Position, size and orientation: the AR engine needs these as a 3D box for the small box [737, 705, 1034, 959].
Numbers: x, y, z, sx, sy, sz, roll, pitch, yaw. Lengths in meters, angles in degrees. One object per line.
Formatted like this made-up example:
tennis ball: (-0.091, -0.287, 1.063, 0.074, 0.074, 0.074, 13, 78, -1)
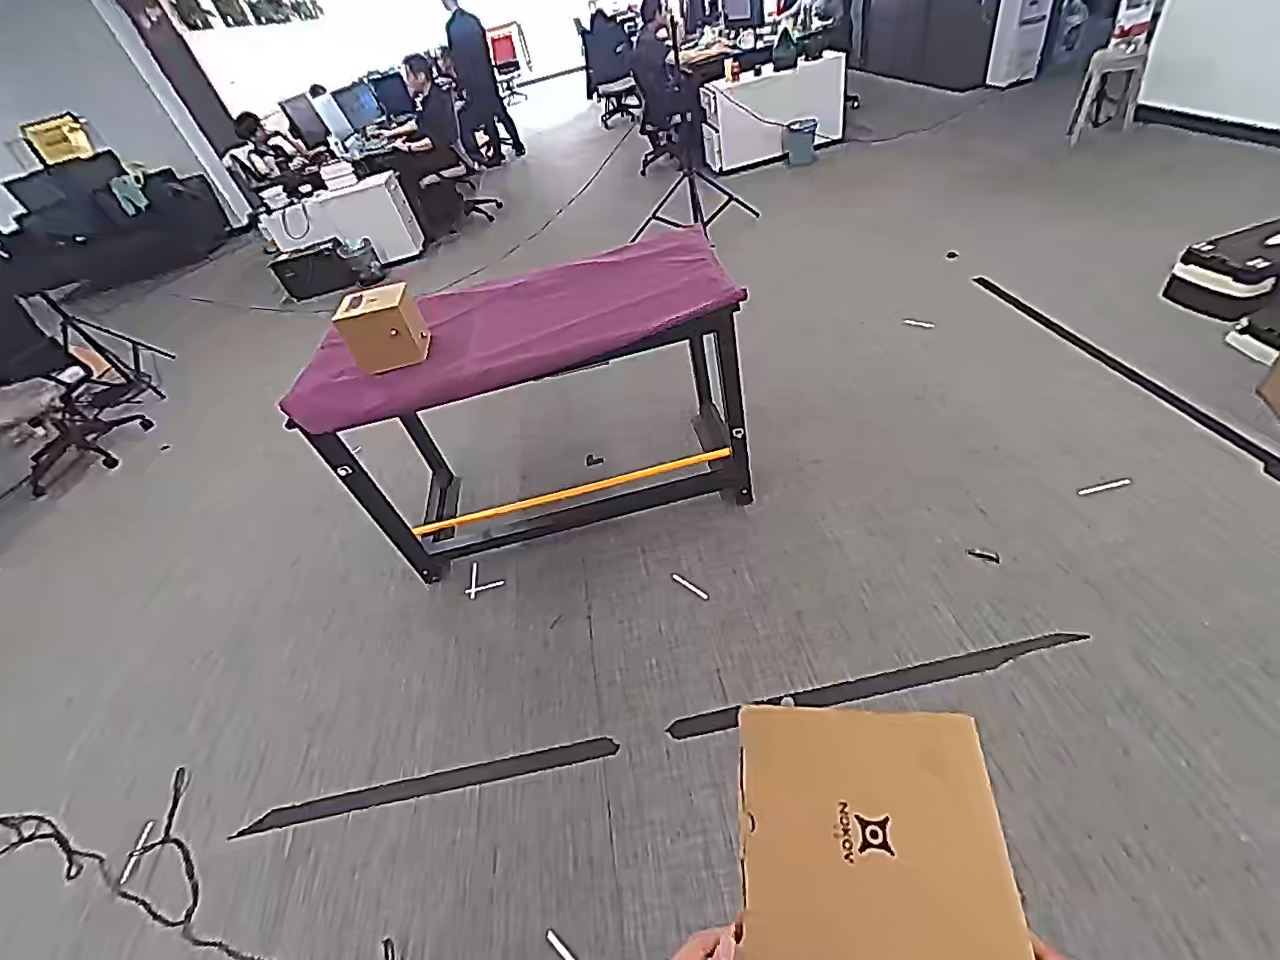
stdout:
small box: (0.173, 0.291, 0.437, 0.179, 0.176, 0.168, -4, 53, 13)
